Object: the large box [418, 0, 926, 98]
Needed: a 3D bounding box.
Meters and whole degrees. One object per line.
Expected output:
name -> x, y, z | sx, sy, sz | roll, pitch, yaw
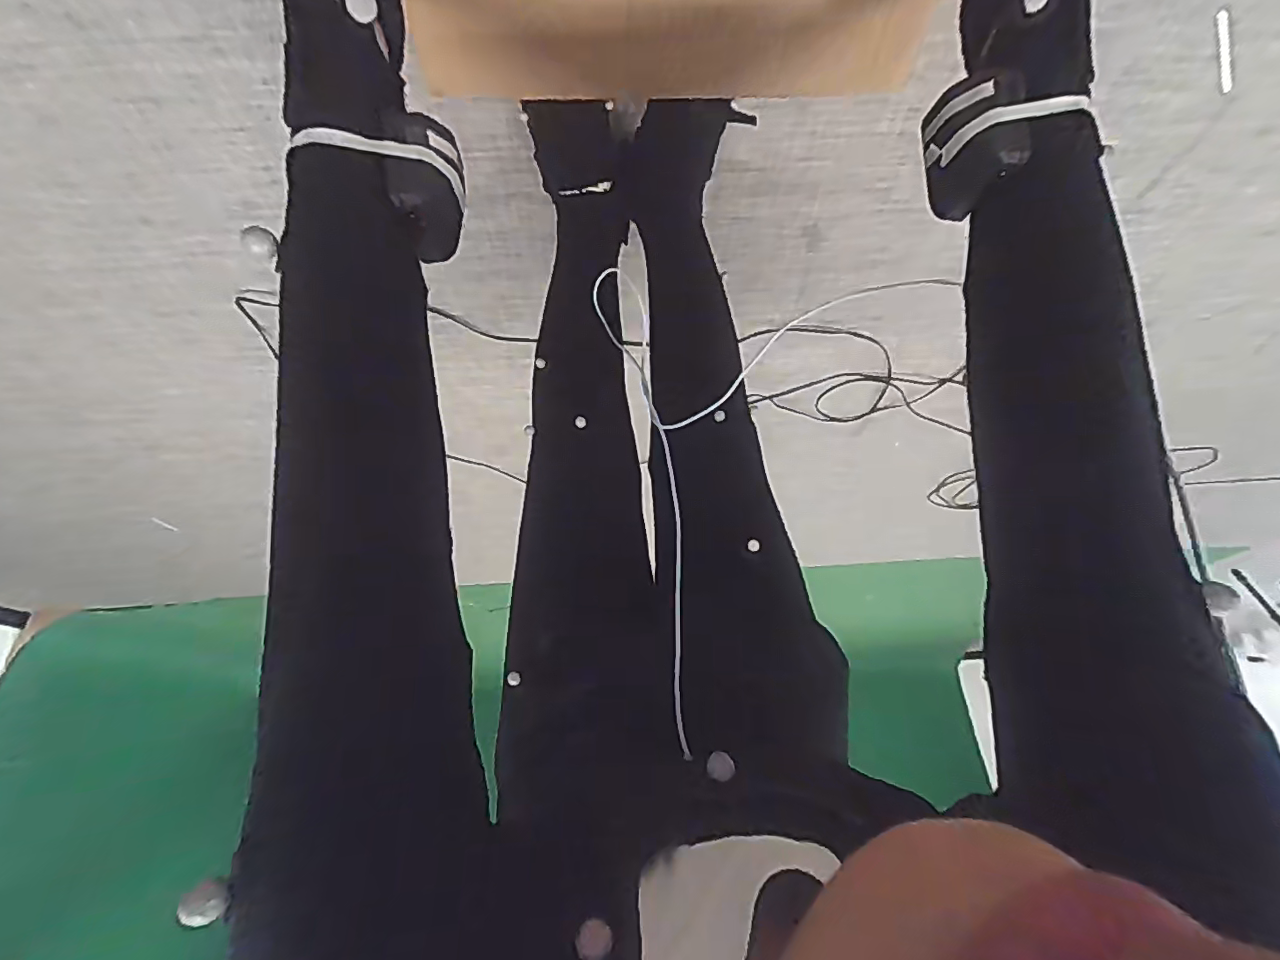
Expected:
large box -> 0.019, -0.544, 0.409 | 0.408, 0.320, 0.320 | -2, 152, -2
